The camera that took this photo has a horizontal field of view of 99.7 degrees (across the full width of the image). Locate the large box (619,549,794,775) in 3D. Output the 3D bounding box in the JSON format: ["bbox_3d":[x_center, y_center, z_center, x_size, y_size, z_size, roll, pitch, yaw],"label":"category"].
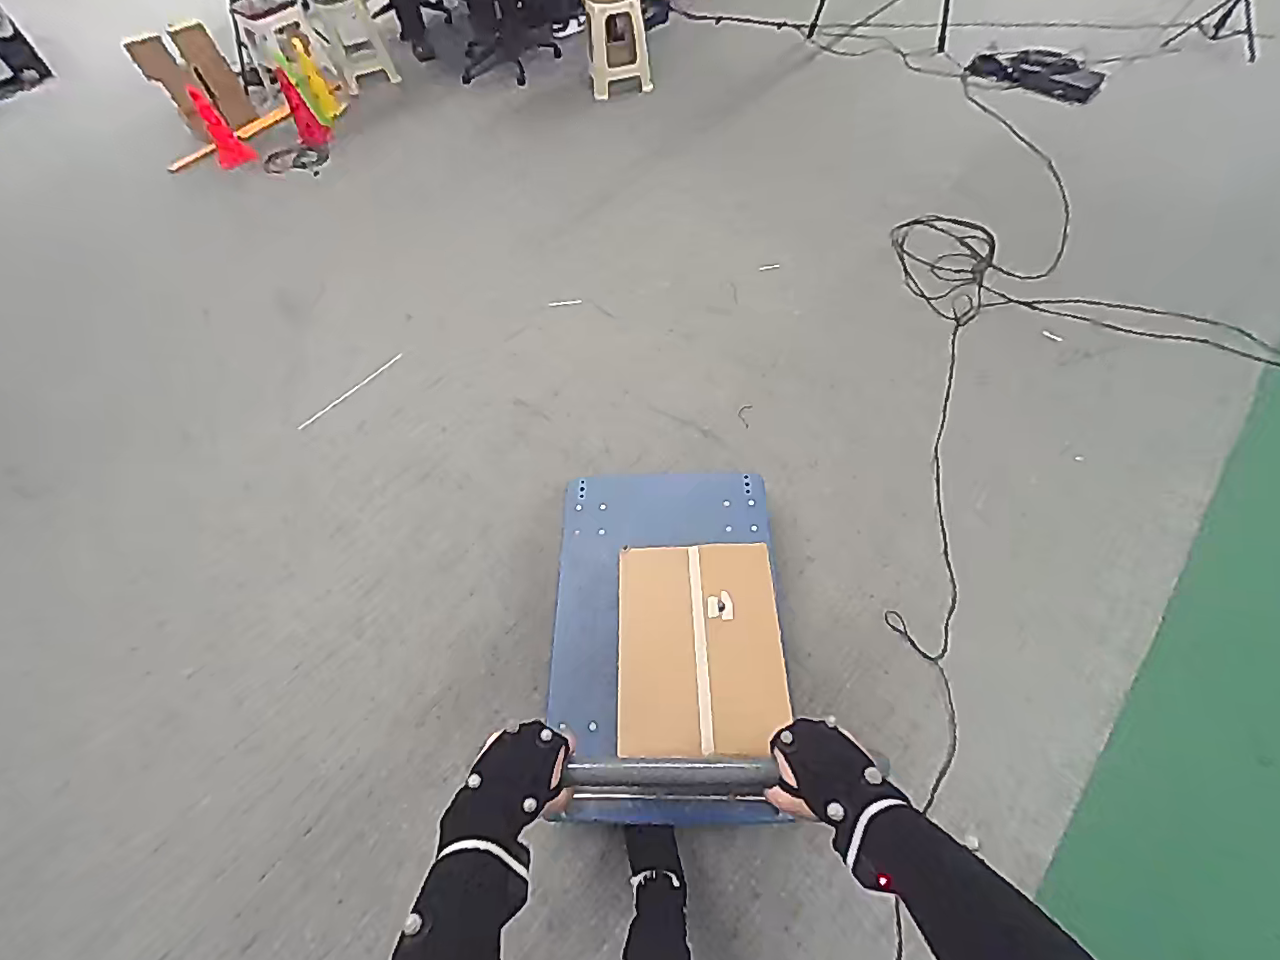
[{"bbox_3d":[0.125,0.404,1.185,0.320,0.320,0.408,-2,57,2],"label":"large box"}]
